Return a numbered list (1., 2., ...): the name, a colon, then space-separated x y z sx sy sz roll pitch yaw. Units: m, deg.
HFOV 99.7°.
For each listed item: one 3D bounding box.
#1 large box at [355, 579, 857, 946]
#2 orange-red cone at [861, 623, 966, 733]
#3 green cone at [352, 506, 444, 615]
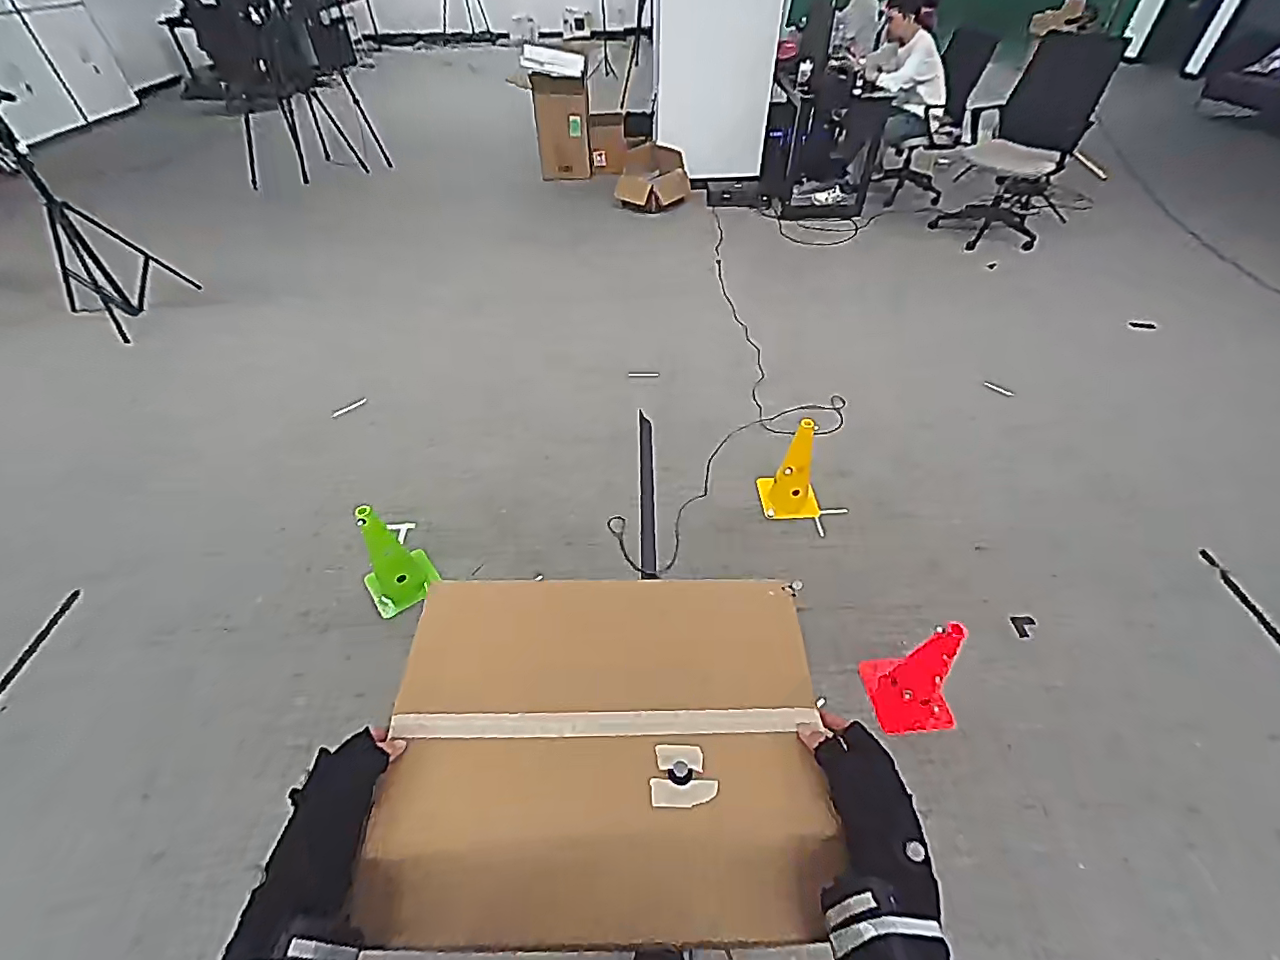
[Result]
1. large box: -0.031 0.329 0.629 0.408 0.320 0.320 0 49 -1
2. orange-red cone: 0.722 0.464 1.354 0.198 0.360 0.199 -2 44 -3
3. green cone: -0.768 0.205 1.629 0.202 0.368 0.200 -31 52 -24
